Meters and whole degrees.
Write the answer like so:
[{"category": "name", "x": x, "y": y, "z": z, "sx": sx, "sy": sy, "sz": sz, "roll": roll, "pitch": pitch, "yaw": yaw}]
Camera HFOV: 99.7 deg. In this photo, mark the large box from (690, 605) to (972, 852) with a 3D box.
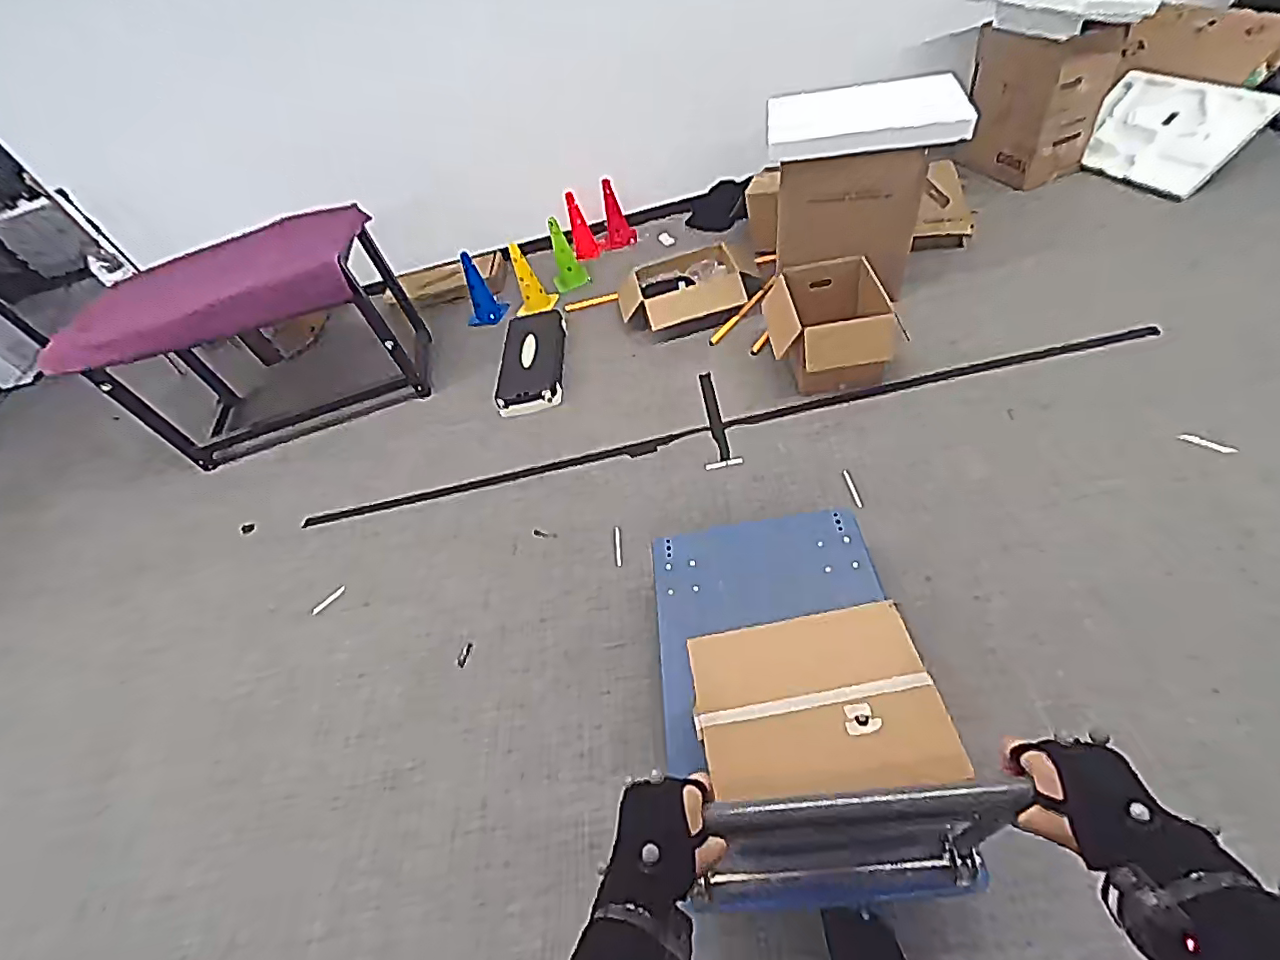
[{"category": "large box", "x": 0.336, "y": 0.492, "z": 1.059, "sx": 0.408, "sy": 0.320, "sz": 0.320, "roll": -12, "pitch": 48, "yaw": 4}]
